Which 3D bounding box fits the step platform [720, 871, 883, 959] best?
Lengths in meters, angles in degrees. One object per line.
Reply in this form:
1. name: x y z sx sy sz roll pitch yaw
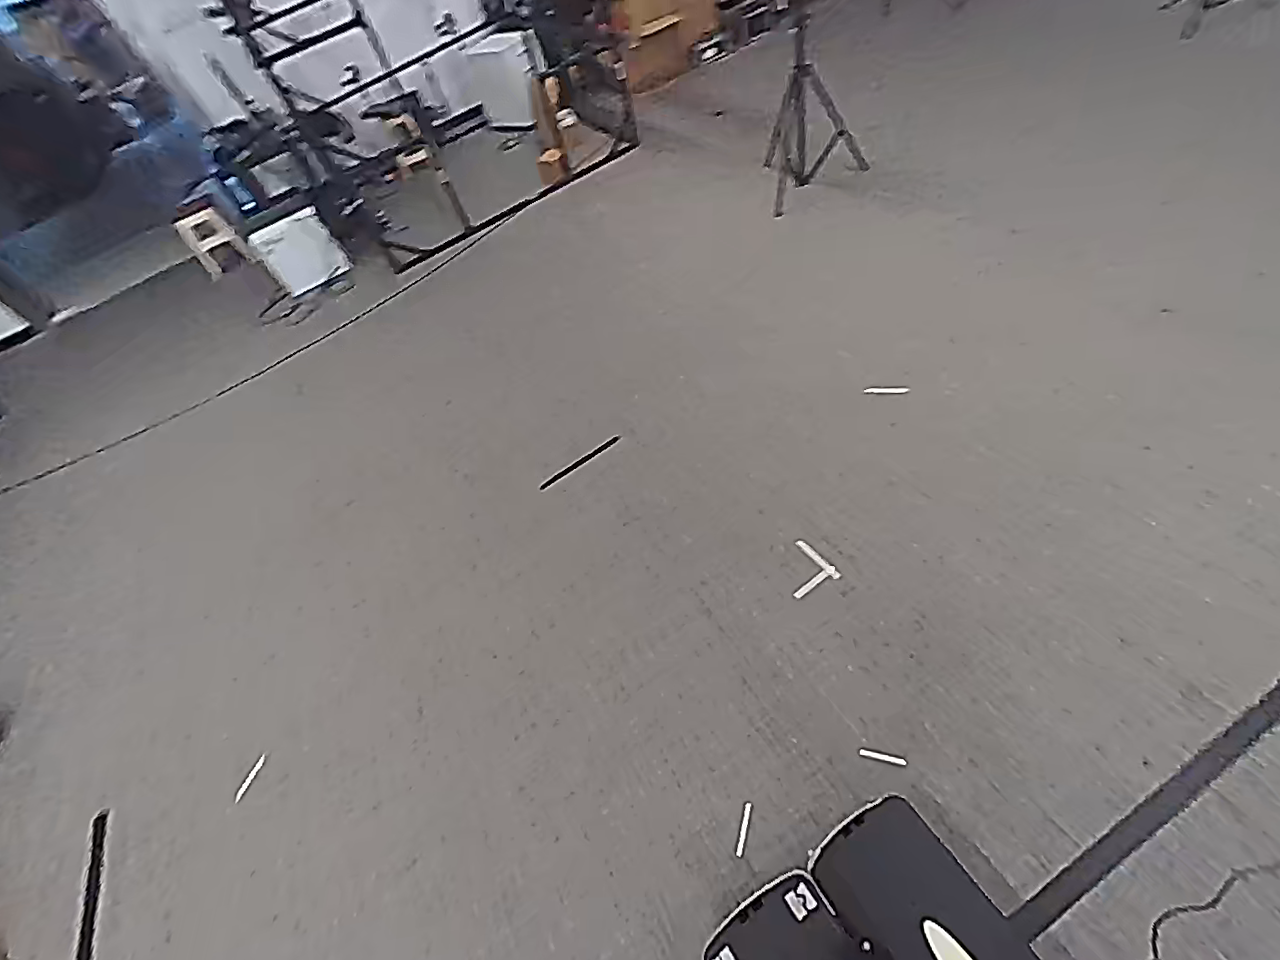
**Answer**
1. step platform: 0.447 1.133 0.987 0.286 0.204 0.684 -34 50 -10
